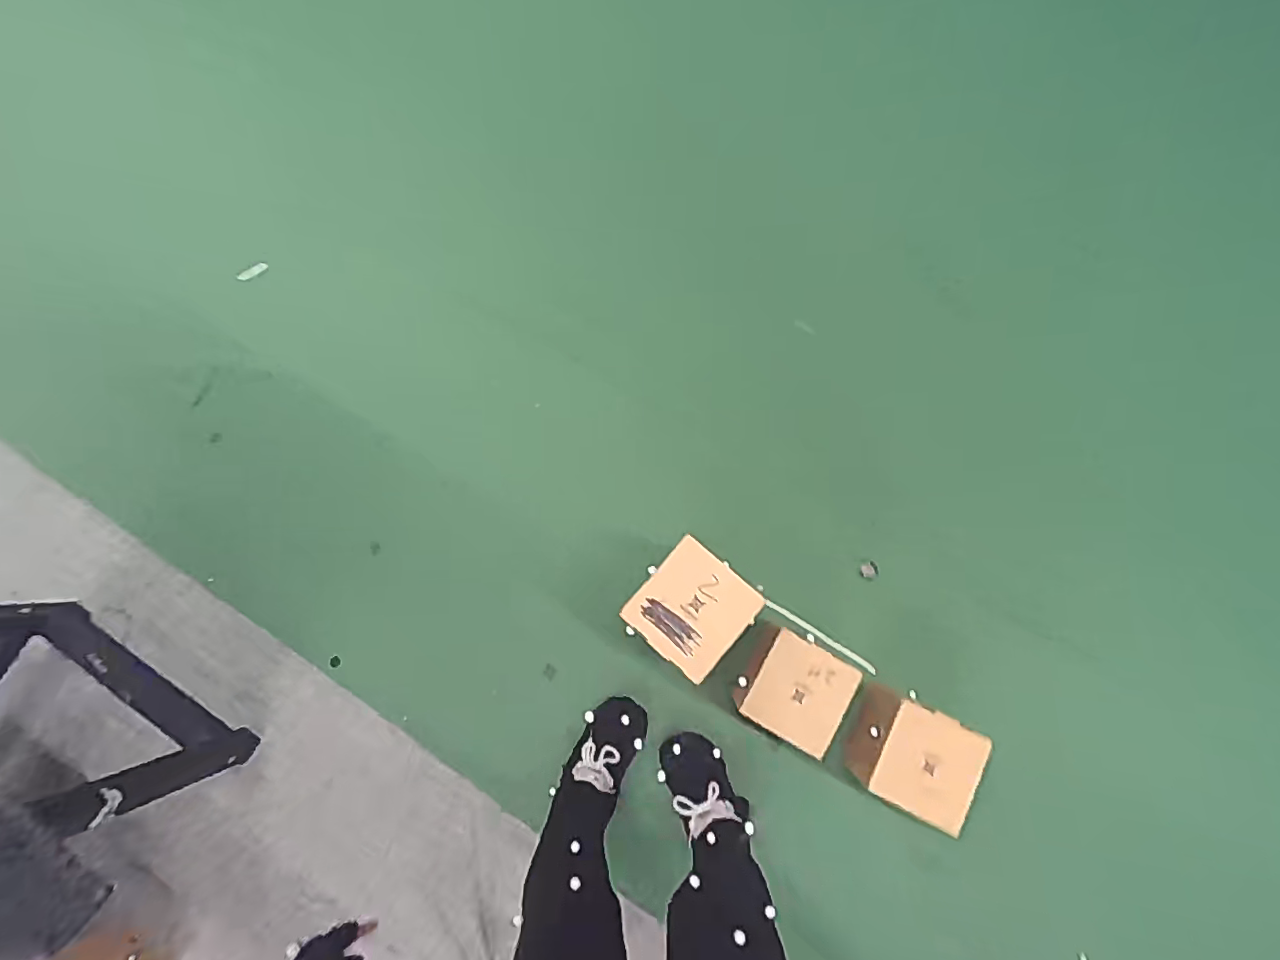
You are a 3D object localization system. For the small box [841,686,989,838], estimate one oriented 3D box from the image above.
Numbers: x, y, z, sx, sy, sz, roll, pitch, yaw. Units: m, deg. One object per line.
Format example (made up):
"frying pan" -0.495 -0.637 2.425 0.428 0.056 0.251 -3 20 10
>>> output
"small box" 0.507 0.518 1.025 0.168 0.176 0.179 27 82 7

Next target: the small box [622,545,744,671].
"small box" 0.084 0.252 1.094 0.168 0.176 0.179 42 86 10

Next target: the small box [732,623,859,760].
"small box" 0.291 0.400 1.056 0.168 0.176 0.179 30 82 8
